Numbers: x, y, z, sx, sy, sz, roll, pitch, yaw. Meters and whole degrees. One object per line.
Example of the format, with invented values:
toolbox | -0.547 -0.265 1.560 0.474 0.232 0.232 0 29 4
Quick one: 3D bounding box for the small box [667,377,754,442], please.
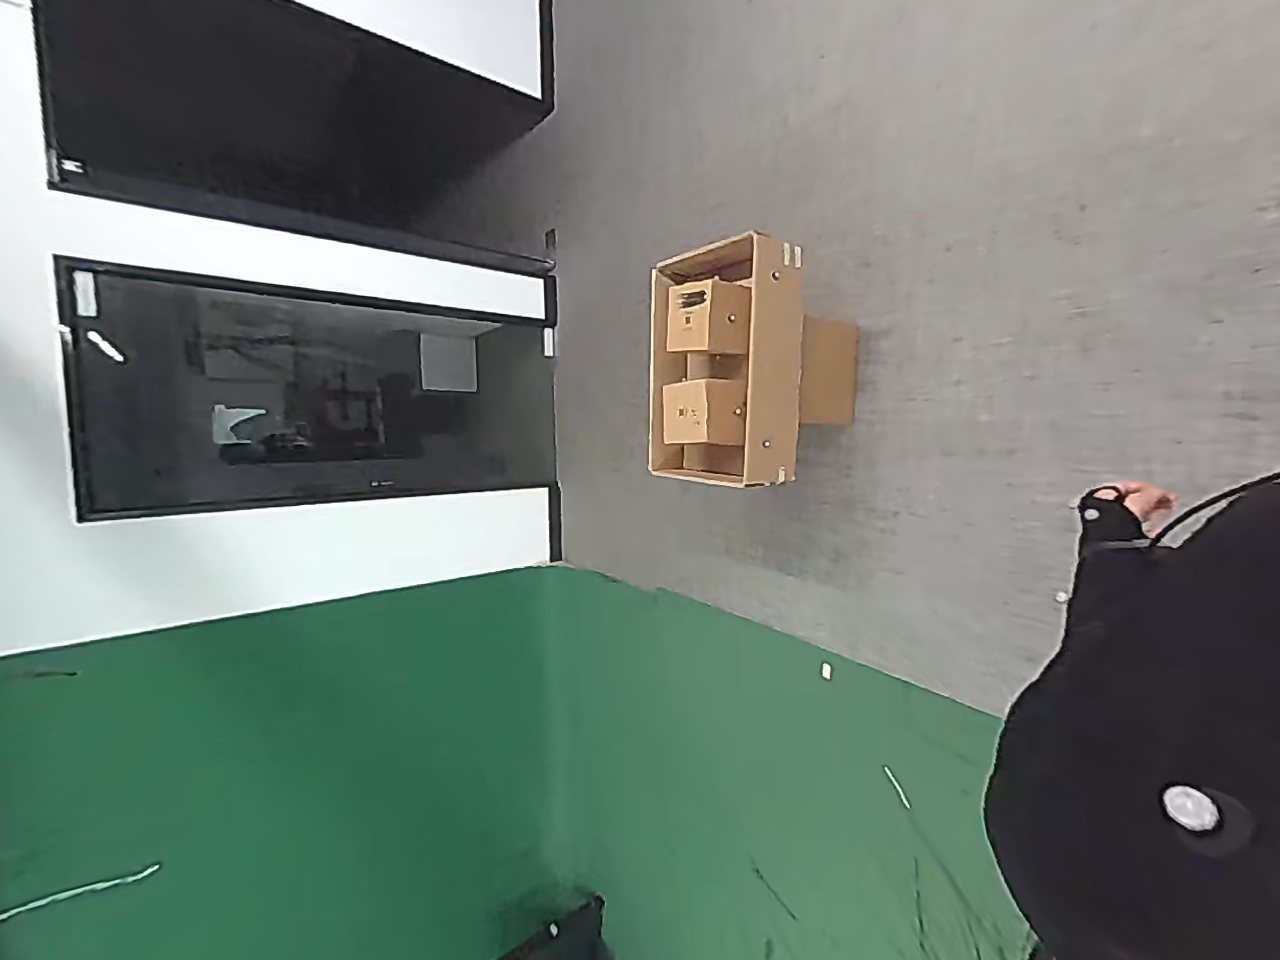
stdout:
small box | 0.193 -0.190 1.495 0.179 0.176 0.168 3 95 53
